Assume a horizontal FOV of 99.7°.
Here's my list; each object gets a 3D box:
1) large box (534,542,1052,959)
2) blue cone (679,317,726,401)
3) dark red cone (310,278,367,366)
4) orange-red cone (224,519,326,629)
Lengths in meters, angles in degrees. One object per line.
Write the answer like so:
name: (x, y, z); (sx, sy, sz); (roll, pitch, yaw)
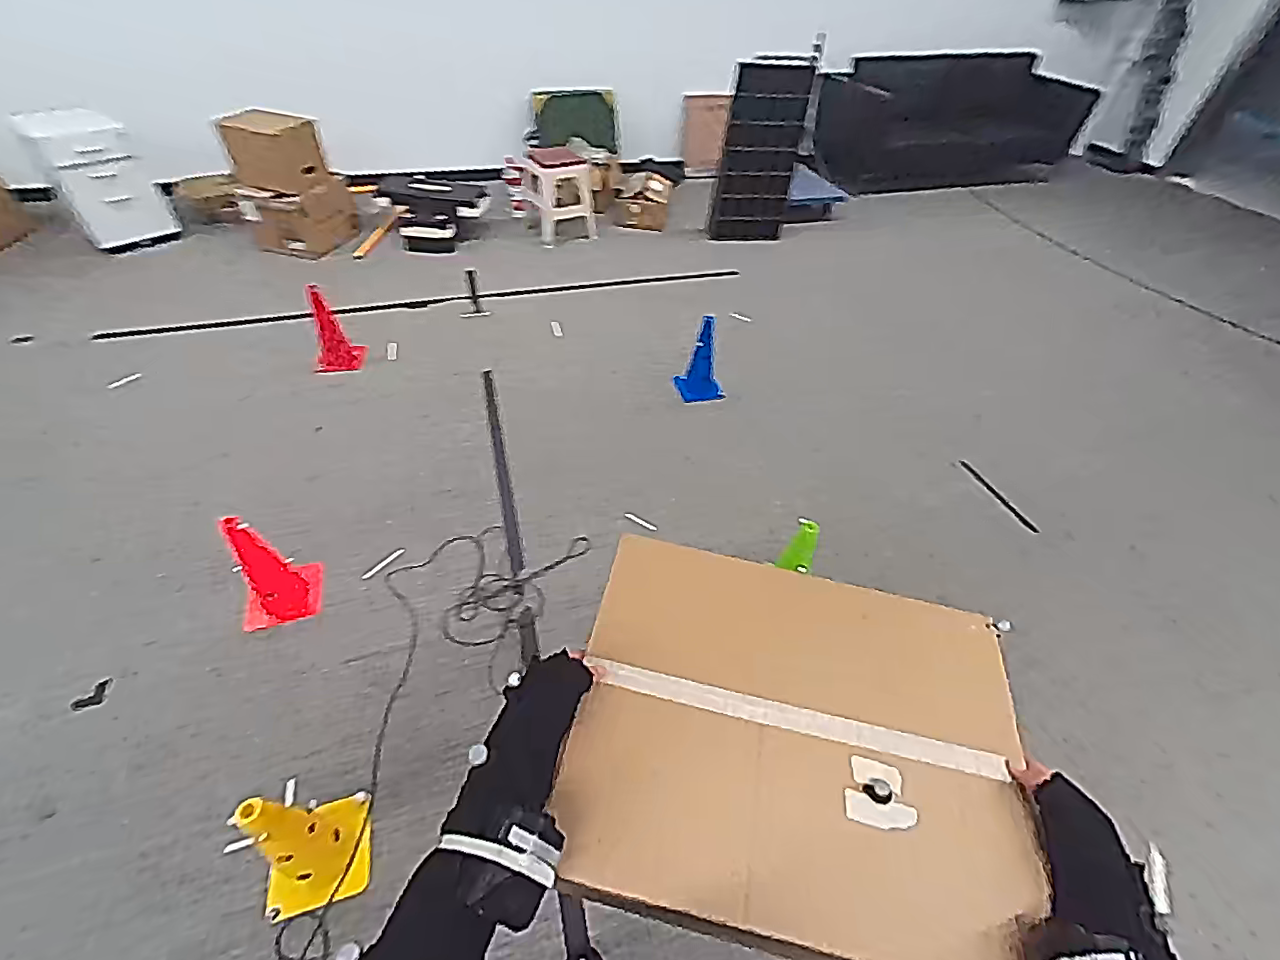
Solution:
large box: (0.122, 0.313, 0.612); (0.408, 0.320, 0.320); (12, 51, 3)
blue cone: (0.295, -0.545, 2.396); (0.192, 0.380, 0.193); (-7, 47, -12)
dark red cone: (-1.369, -0.695, 2.385); (0.201, 0.394, 0.202); (-5, 46, -10)
orange-red cone: (-1.063, 0.235, 1.529); (0.198, 0.360, 0.199); (-13, 49, -14)
